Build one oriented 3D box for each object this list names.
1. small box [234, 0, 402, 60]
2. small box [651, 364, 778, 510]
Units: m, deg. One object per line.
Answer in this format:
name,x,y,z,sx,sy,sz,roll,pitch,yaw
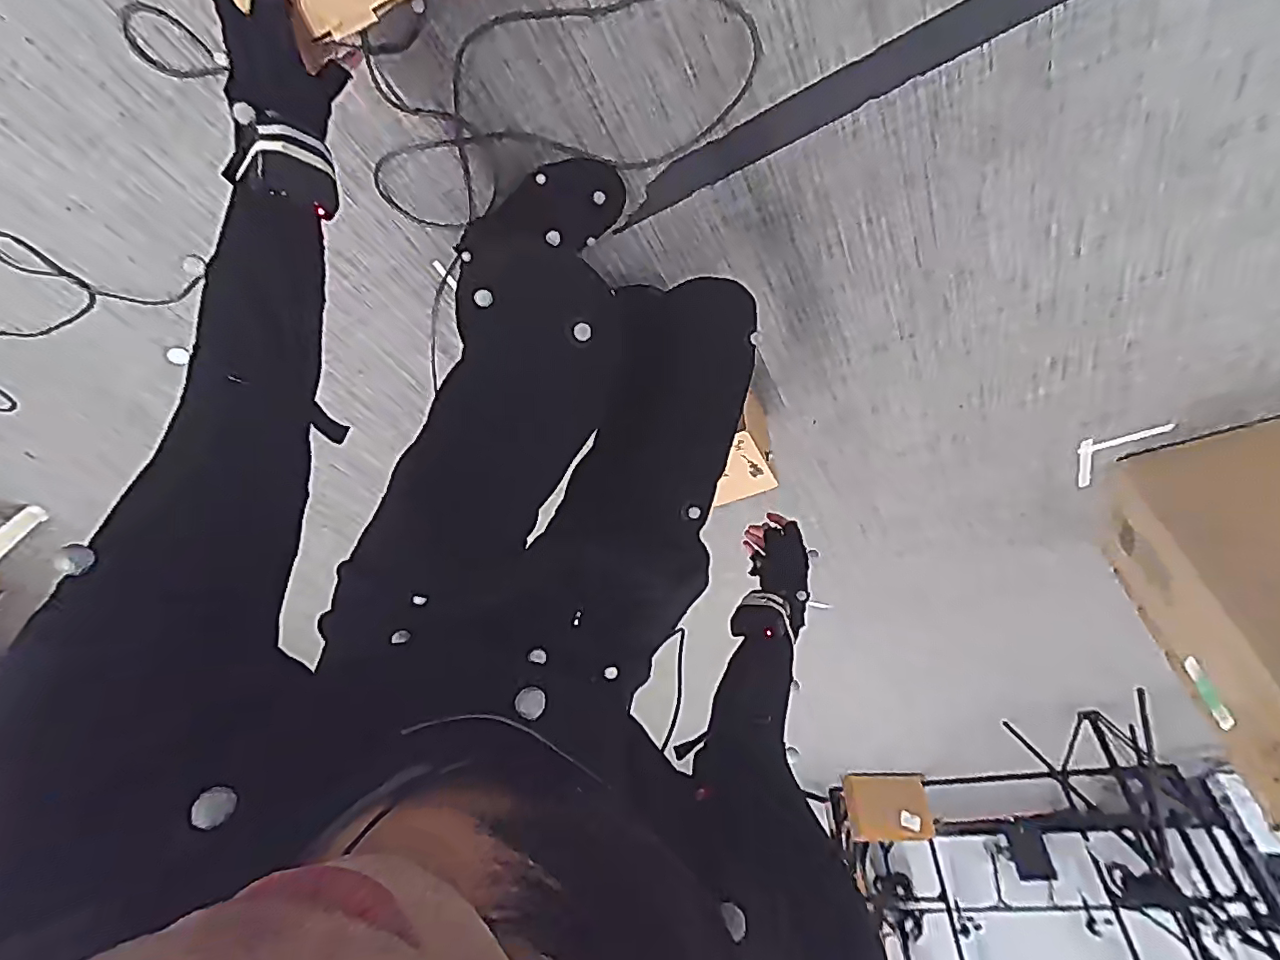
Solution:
small box,-0.276,-0.506,0.455,0.168,0.176,0.179,-14,136,15
small box,0.134,-0.076,0.976,0.179,0.176,0.168,-18,138,23
